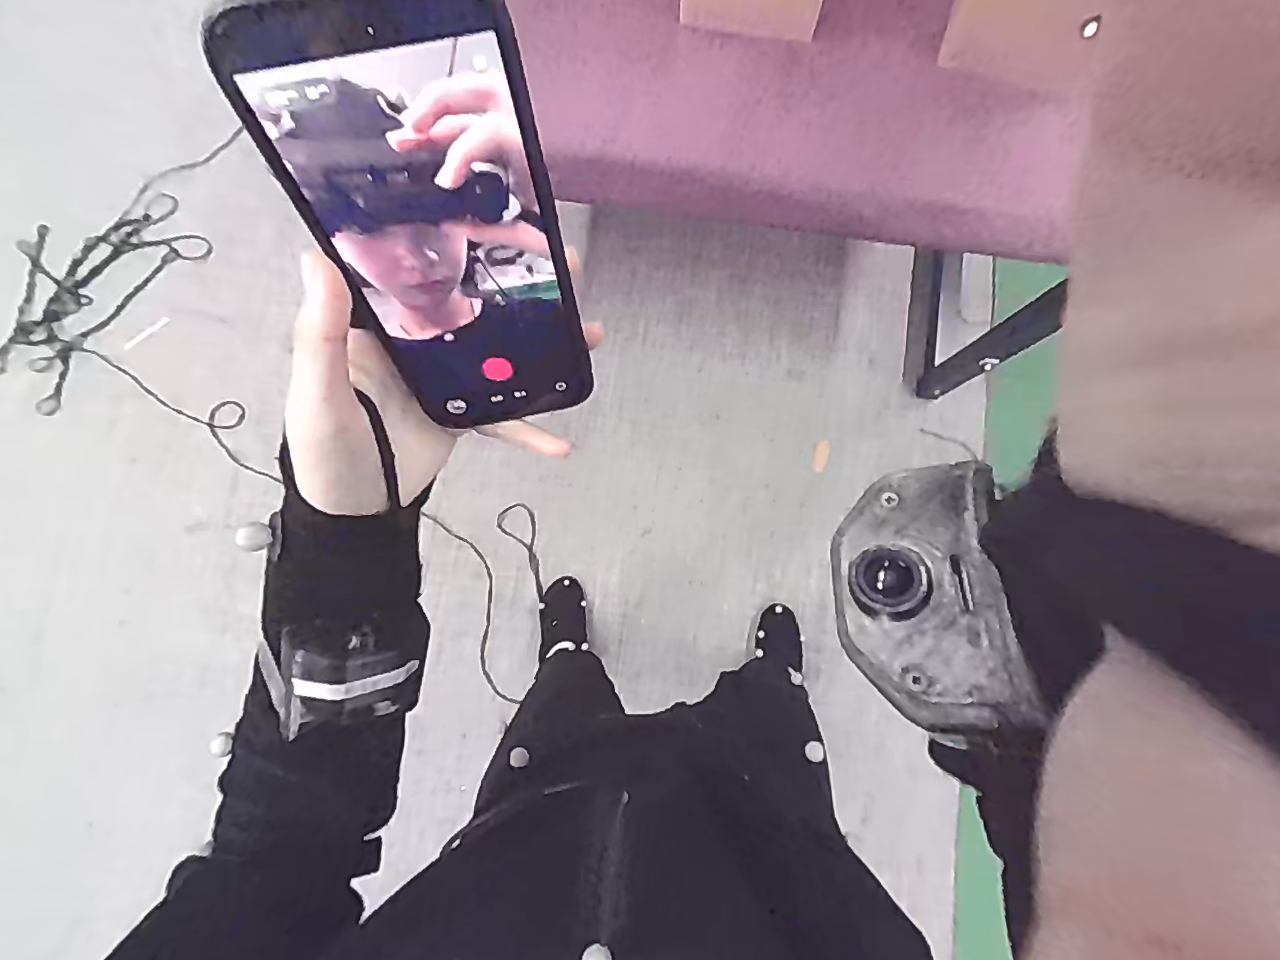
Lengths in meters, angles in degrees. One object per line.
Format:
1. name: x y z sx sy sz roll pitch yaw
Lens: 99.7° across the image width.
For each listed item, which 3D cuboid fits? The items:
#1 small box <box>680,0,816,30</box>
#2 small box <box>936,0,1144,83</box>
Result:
1. small box: 0.148 -0.680 0.632 0.179 0.176 0.168 11 83 4
2. small box: 0.478 -0.600 0.612 0.179 0.176 0.168 17 83 5
